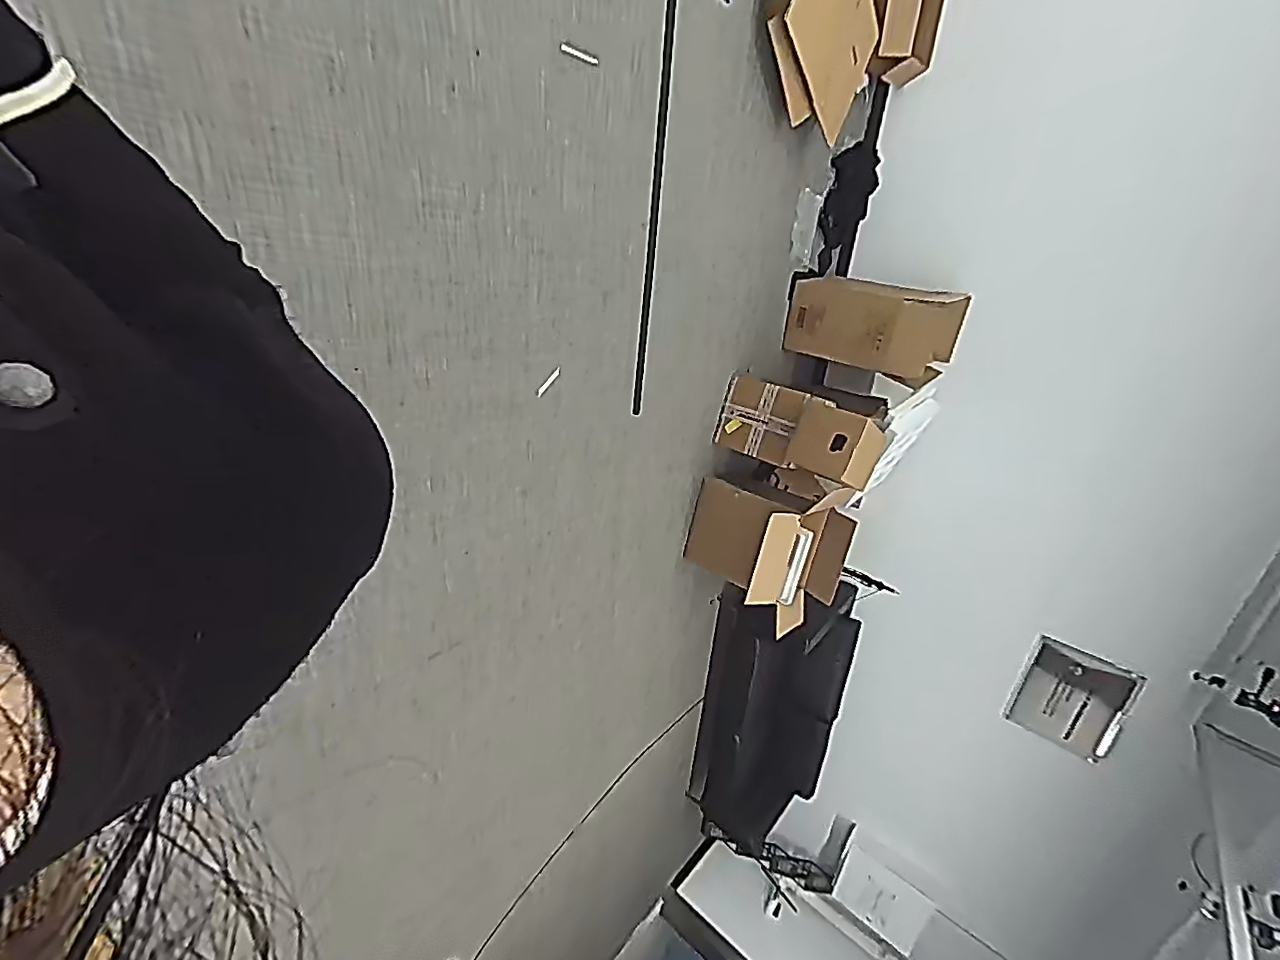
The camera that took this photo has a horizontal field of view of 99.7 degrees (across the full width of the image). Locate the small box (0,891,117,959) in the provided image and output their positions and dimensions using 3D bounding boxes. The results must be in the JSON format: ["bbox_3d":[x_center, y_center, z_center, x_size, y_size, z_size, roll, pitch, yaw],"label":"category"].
[{"bbox_3d":[-0.512,0.477,0.421,0.168,0.176,0.179,-17,122,-48],"label":"small box"}]

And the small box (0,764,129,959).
[{"bbox_3d":[-0.634,0.424,0.516,0.179,0.176,0.168,-17,121,-48],"label":"small box"}]
